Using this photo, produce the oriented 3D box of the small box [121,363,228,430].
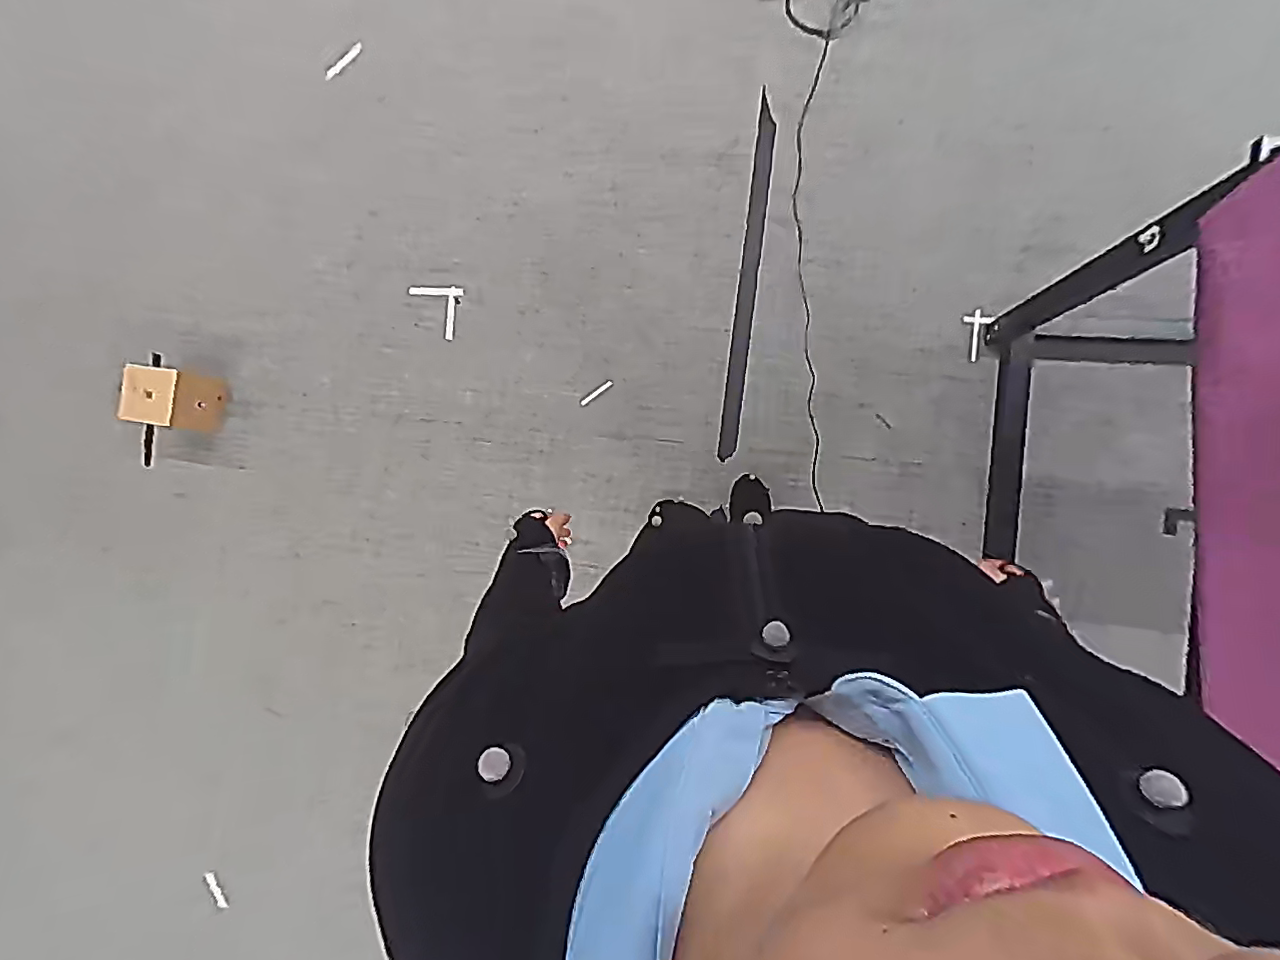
[{"bbox_3d":[-1.403,-0.247,1.640,0.179,0.176,0.168,9,90,8],"label":"small box"}]
